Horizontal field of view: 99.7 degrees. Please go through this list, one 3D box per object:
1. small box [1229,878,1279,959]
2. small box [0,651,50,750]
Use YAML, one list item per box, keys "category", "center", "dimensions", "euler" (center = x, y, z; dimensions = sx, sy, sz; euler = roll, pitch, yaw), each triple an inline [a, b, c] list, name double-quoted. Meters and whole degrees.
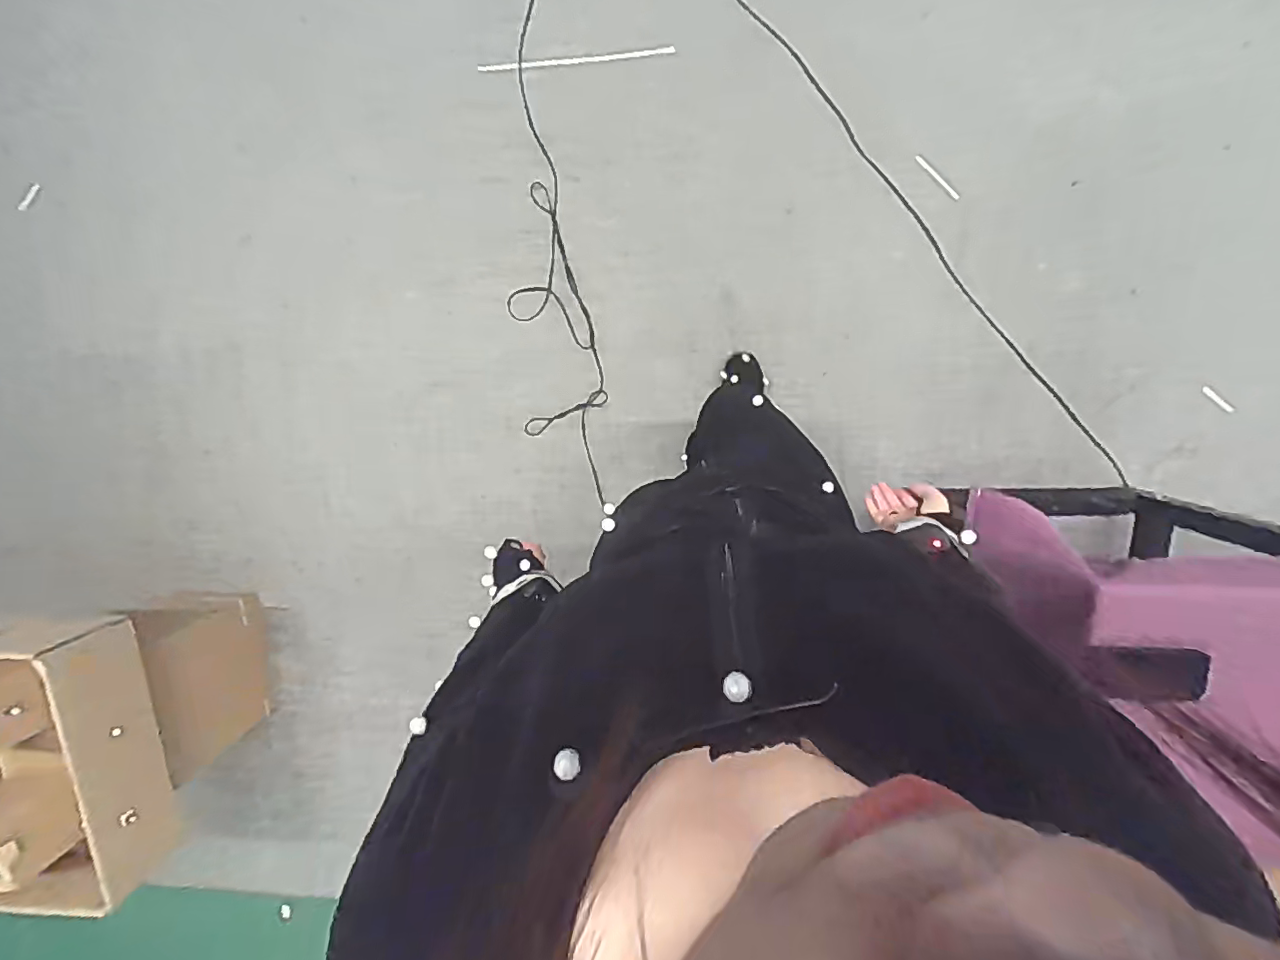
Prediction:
- category: "small box"
  center: [0.944, 0.660, 0.703]
  dimensions: [0.179, 0.176, 0.168]
  euler: [-1, 101, 5]
- category: "small box"
  center: [-1.421, 0.480, 1.149]
  dimensions: [0.179, 0.176, 0.168]
  euler: [6, 101, 3]
